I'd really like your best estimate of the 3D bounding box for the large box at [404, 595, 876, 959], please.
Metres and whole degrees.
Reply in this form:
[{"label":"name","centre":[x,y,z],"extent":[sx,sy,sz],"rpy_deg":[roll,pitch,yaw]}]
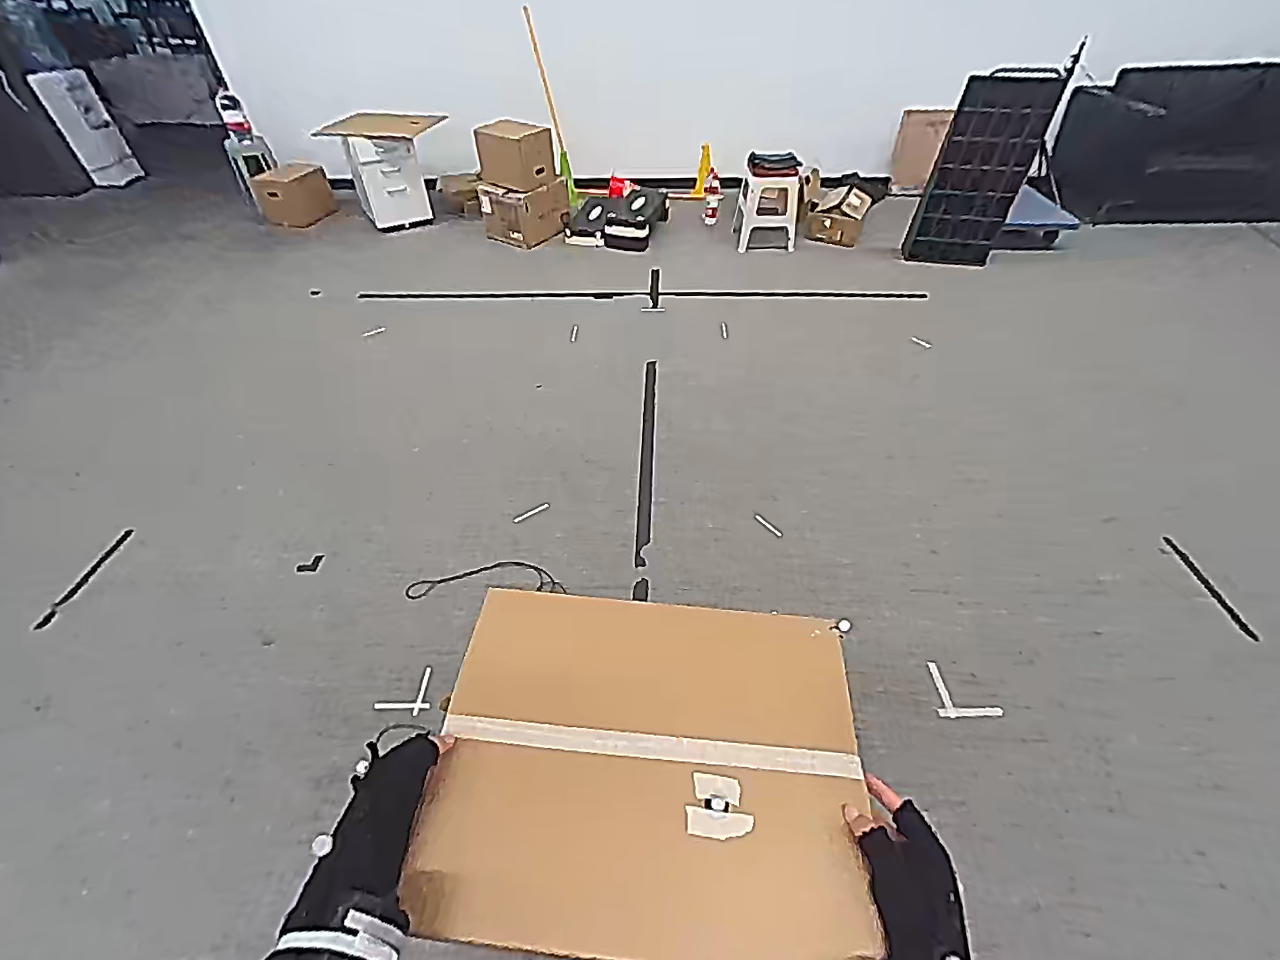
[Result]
[{"label":"large box","centre":[0.004,0.365,0.655],"extent":[0.408,0.320,0.320],"rpy_deg":[5,49,3]}]
